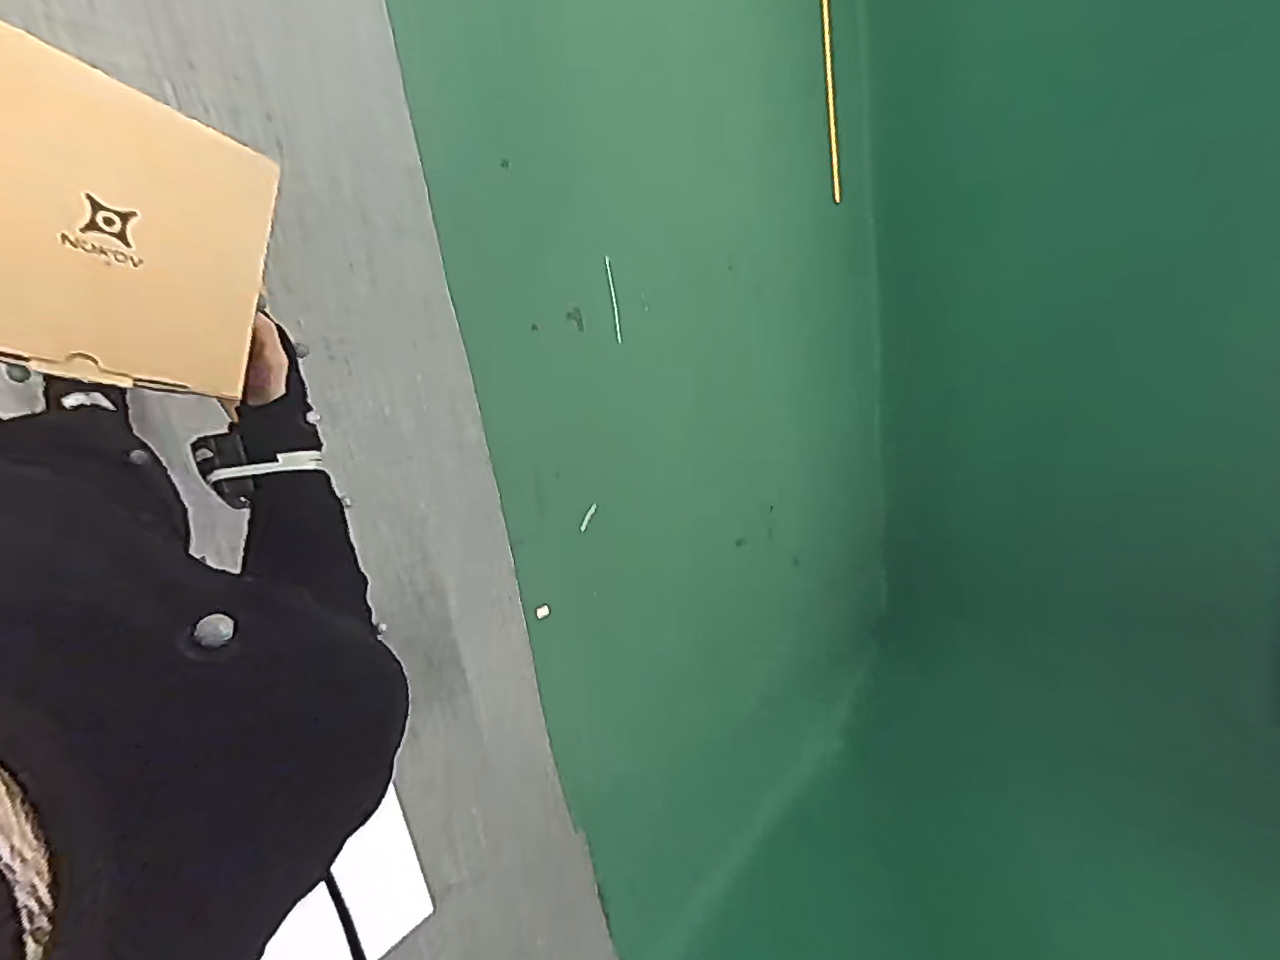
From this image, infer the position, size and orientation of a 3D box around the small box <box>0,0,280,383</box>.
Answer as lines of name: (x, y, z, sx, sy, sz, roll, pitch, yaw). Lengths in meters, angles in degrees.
small box: (-0.382, -0.174, 0.365, 0.168, 0.176, 0.179, 9, 92, -57)
